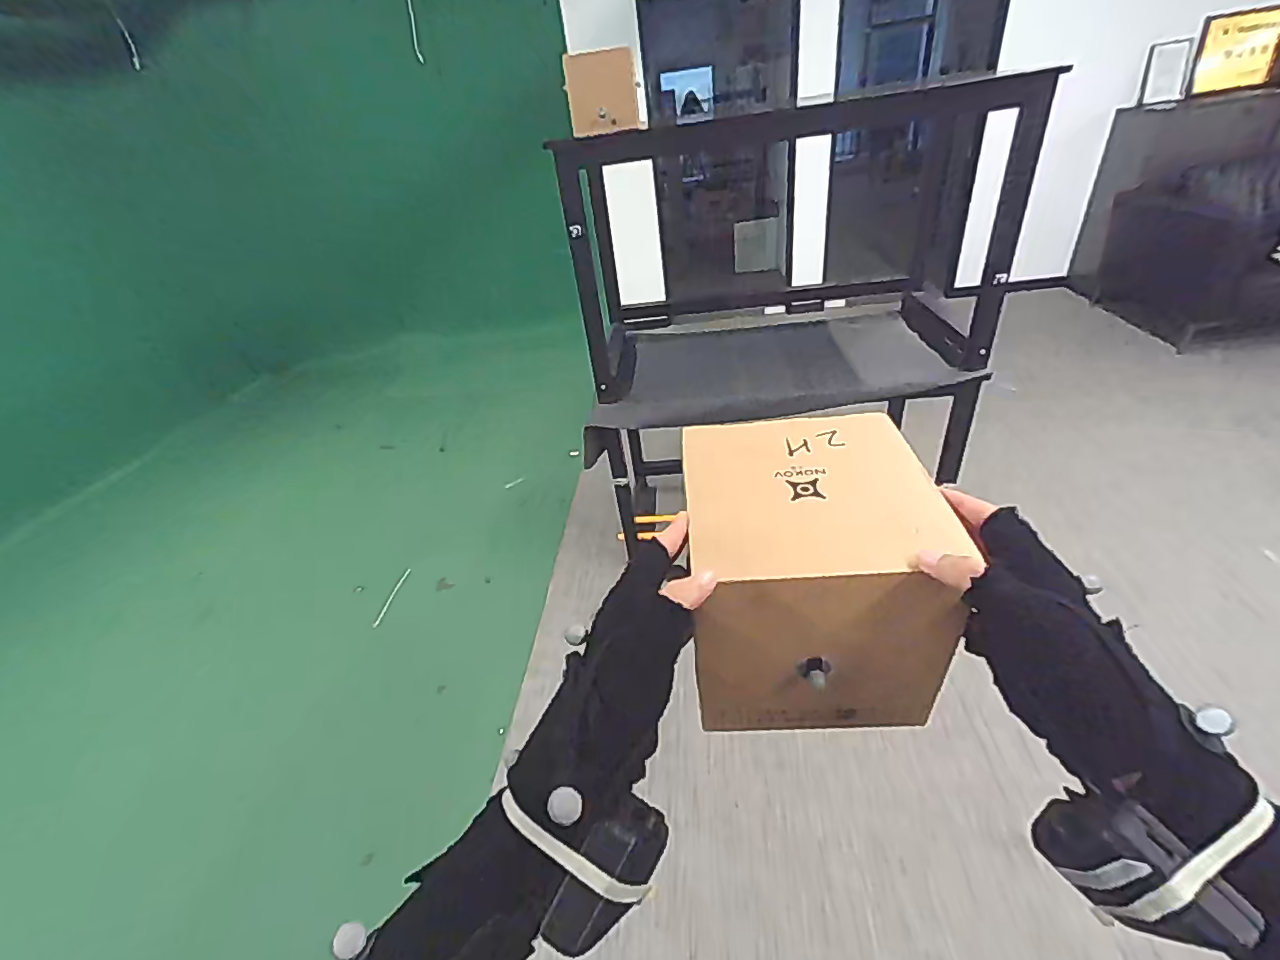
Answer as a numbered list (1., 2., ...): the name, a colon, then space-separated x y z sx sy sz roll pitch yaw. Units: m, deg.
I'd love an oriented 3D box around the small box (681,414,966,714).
1. small box: 0.121 0.067 0.430 0.168 0.176 0.179 -3 36 5
